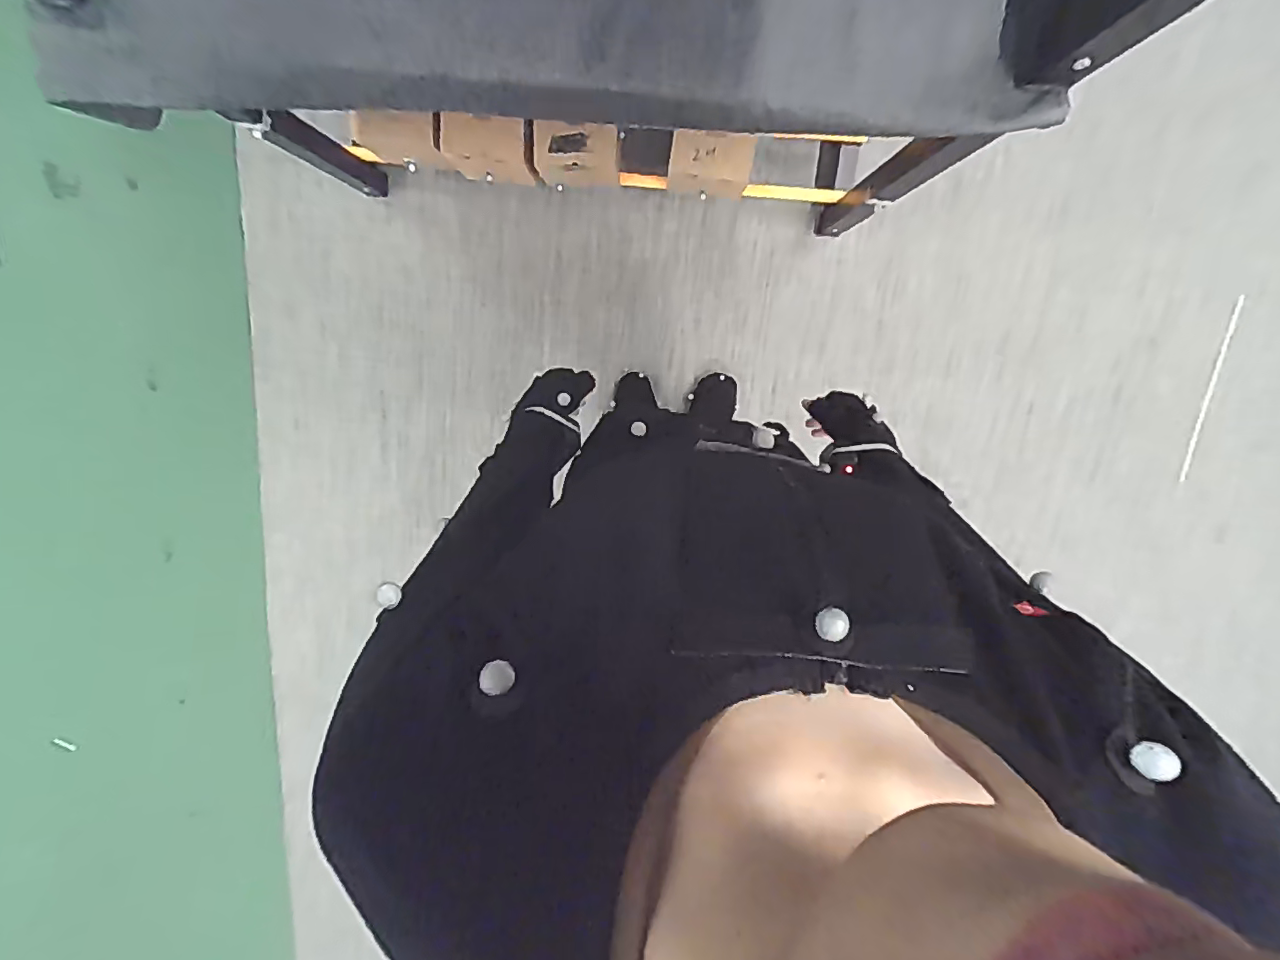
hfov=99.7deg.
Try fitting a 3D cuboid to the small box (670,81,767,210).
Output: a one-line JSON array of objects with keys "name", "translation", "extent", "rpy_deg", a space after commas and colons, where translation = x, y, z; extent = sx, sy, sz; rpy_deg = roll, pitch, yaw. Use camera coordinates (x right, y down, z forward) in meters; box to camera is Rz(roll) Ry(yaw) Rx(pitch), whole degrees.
[{"name": "small box", "translation": [0.156, -0.697, 1.147], "extent": [0.168, 0.176, 0.179], "rpy_deg": [10, 105, 0]}]
